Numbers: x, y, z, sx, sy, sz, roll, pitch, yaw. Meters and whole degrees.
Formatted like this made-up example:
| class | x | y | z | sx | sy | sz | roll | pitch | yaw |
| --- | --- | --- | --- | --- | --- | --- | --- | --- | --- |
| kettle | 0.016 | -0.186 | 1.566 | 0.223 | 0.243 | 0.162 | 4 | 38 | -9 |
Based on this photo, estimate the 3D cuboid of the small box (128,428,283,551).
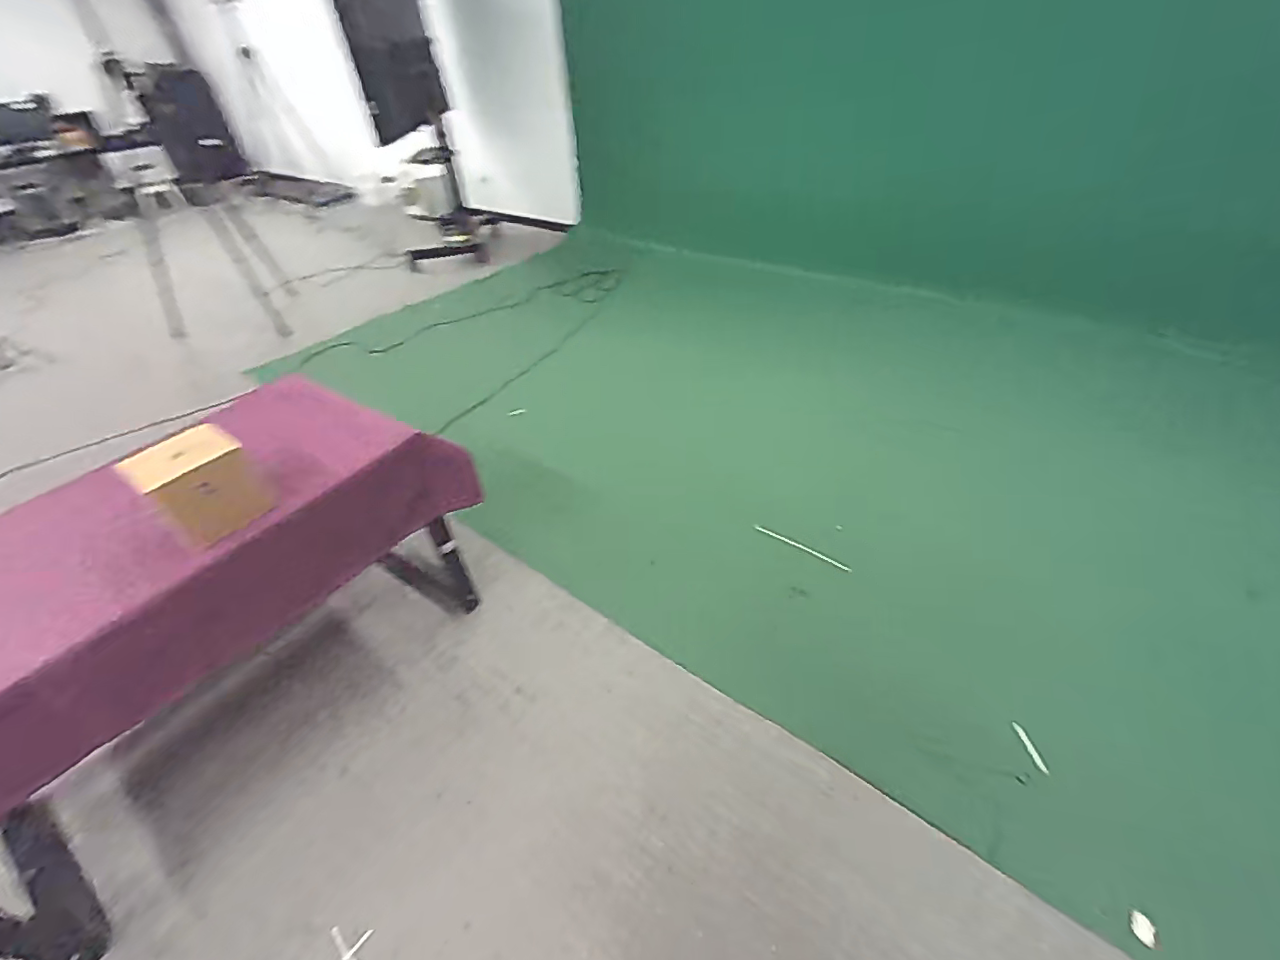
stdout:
| class | x | y | z | sx | sy | sz | roll | pitch | yaw |
| --- | --- | --- | --- | --- | --- | --- | --- | --- | --- |
| small box | -0.921 | 0.021 | 1.159 | 0.168 | 0.176 | 0.179 | 24 | 48 | 29 |
